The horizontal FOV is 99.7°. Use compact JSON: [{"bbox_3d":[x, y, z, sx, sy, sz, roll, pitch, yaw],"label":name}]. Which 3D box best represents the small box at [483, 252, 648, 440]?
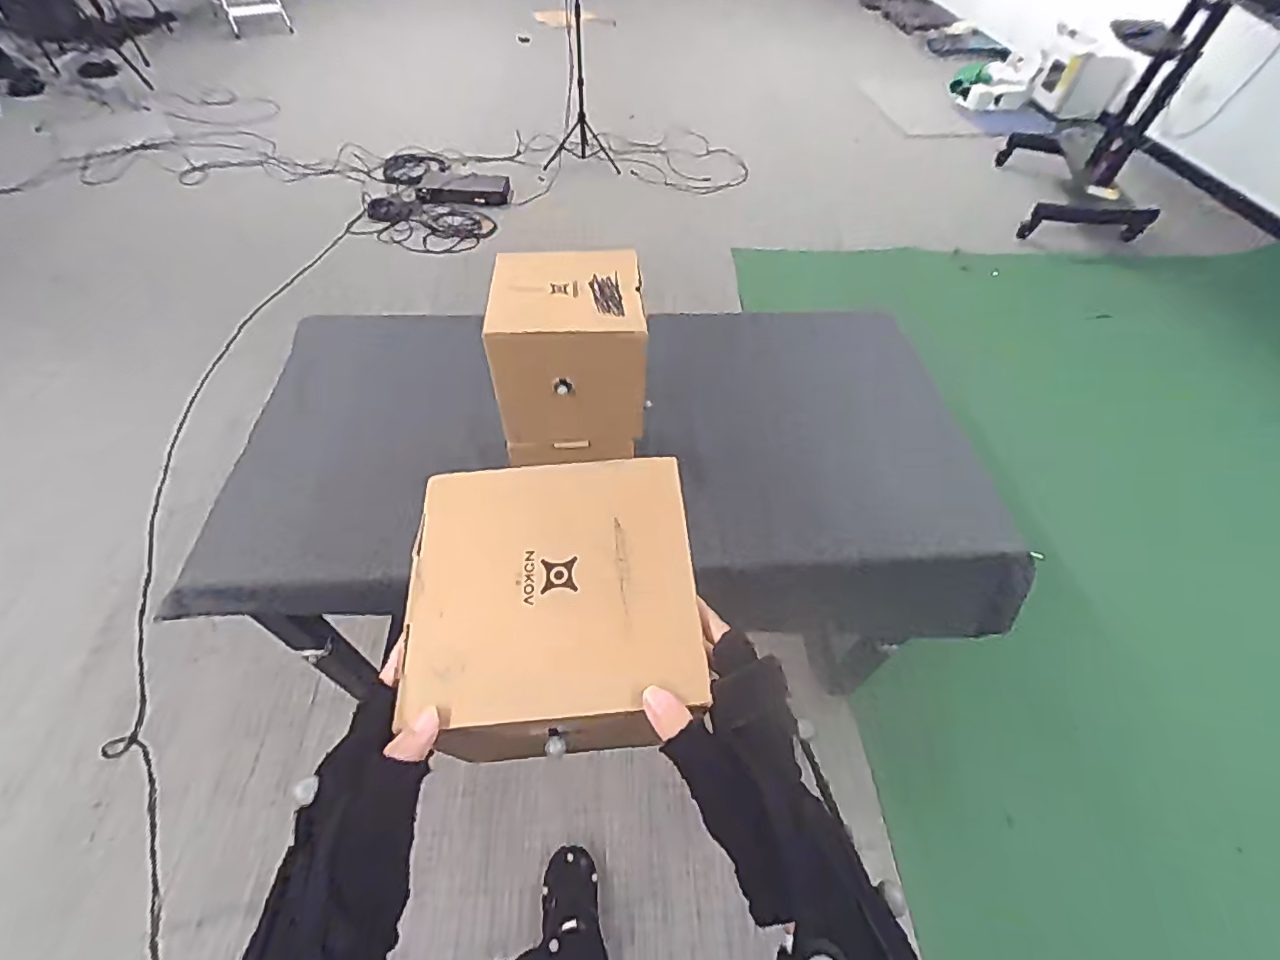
[{"bbox_3d":[-0.085,-0.163,0.680,0.179,0.176,0.168,-2,52,-3],"label":"small box"}]

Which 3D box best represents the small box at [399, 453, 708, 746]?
[{"bbox_3d":[-0.054,0.098,0.408,0.179,0.176,0.168,-4,60,-4],"label":"small box"}]

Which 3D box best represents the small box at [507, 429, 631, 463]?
[{"bbox_3d":[-0.099,-0.065,0.812,0.168,0.176,0.179,-2,53,-5],"label":"small box"}]
